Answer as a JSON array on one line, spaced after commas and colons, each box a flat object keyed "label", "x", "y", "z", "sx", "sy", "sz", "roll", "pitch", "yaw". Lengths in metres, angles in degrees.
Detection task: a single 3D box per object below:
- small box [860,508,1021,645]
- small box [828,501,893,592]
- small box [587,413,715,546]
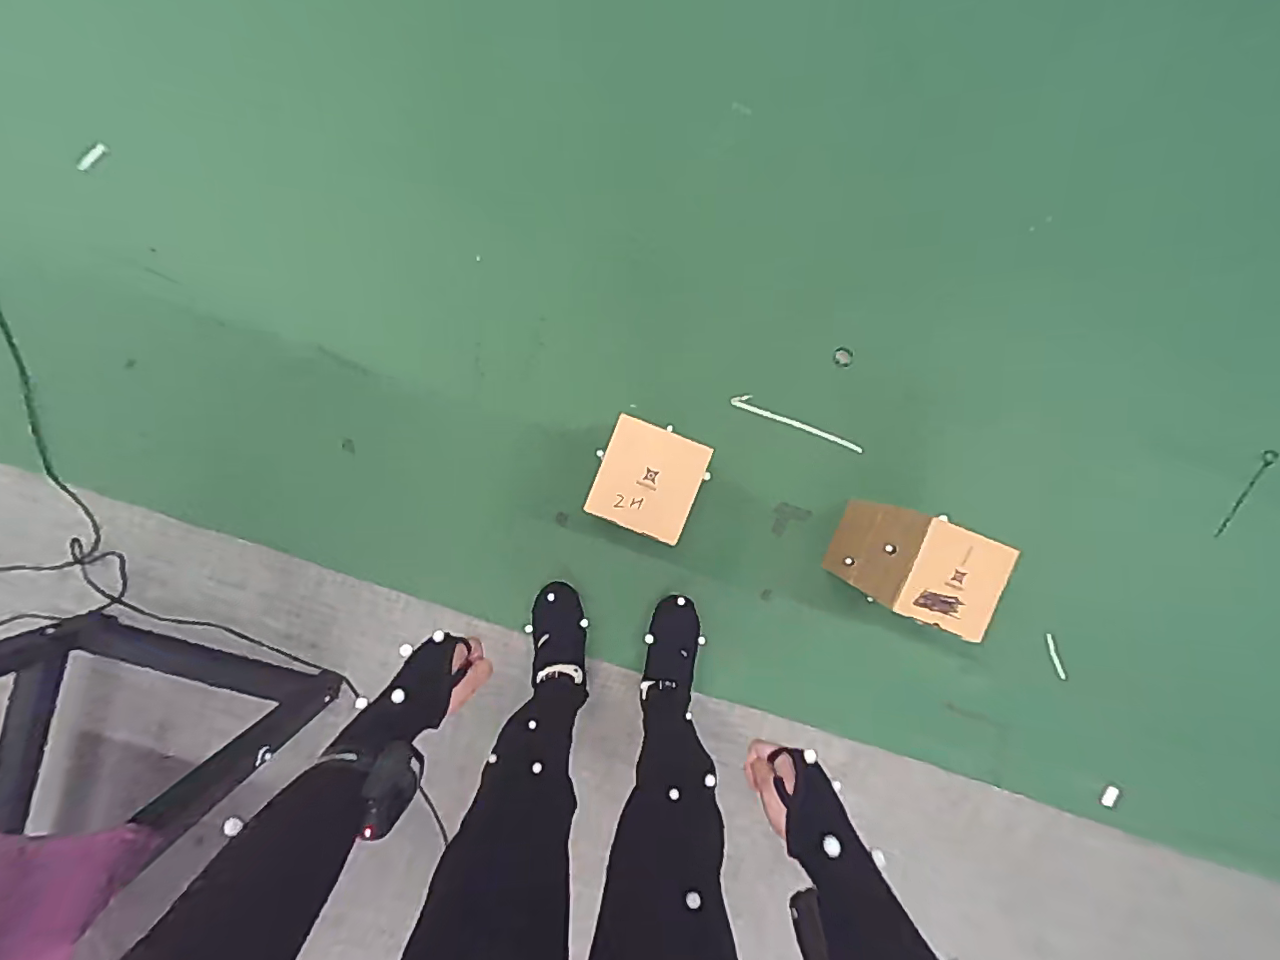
[{"label": "small box", "x": 0.529, "y": 0.165, "z": 0.984, "sx": 0.168, "sy": 0.176, "sz": 0.179, "roll": 22, "pitch": 93, "yaw": -4}, {"label": "small box", "x": 0.525, "y": 0.154, "z": 1.148, "sx": 0.168, "sy": 0.176, "sz": 0.179, "roll": 21, "pitch": 93, "yaw": -3}, {"label": "small box", "x": 0.016, "y": -0.004, "z": 0.961, "sx": 0.168, "sy": 0.176, "sz": 0.179, "roll": 22, "pitch": 93, "yaw": -2}]
